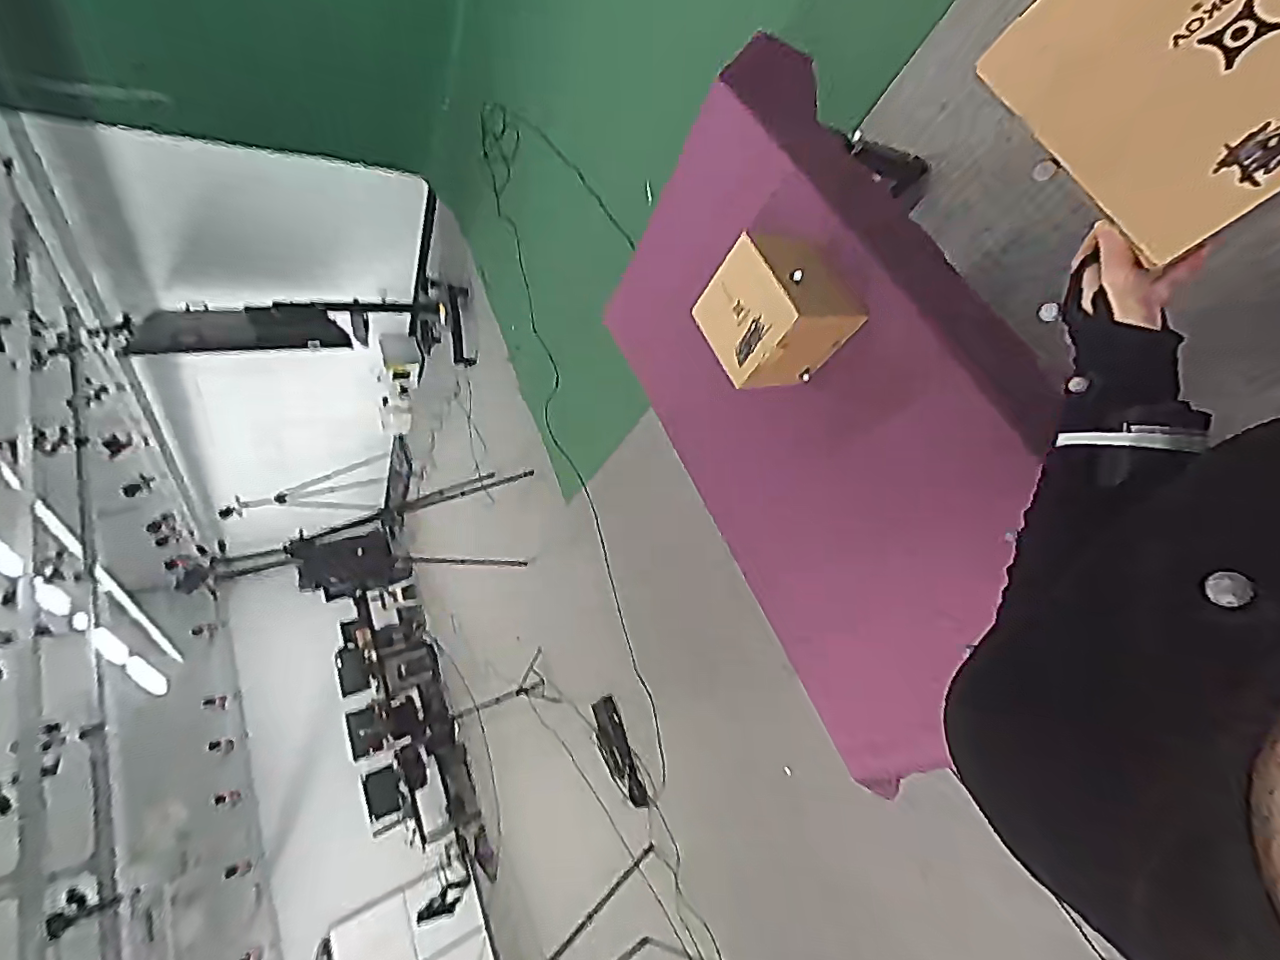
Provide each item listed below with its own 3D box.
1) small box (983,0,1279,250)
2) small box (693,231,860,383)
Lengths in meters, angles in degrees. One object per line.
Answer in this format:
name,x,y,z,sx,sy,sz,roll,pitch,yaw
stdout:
small box,0.359,-0.266,0.336,0.168,0.176,0.179,-40,76,44
small box,0.225,-0.284,0.899,0.168,0.176,0.179,-50,58,49
